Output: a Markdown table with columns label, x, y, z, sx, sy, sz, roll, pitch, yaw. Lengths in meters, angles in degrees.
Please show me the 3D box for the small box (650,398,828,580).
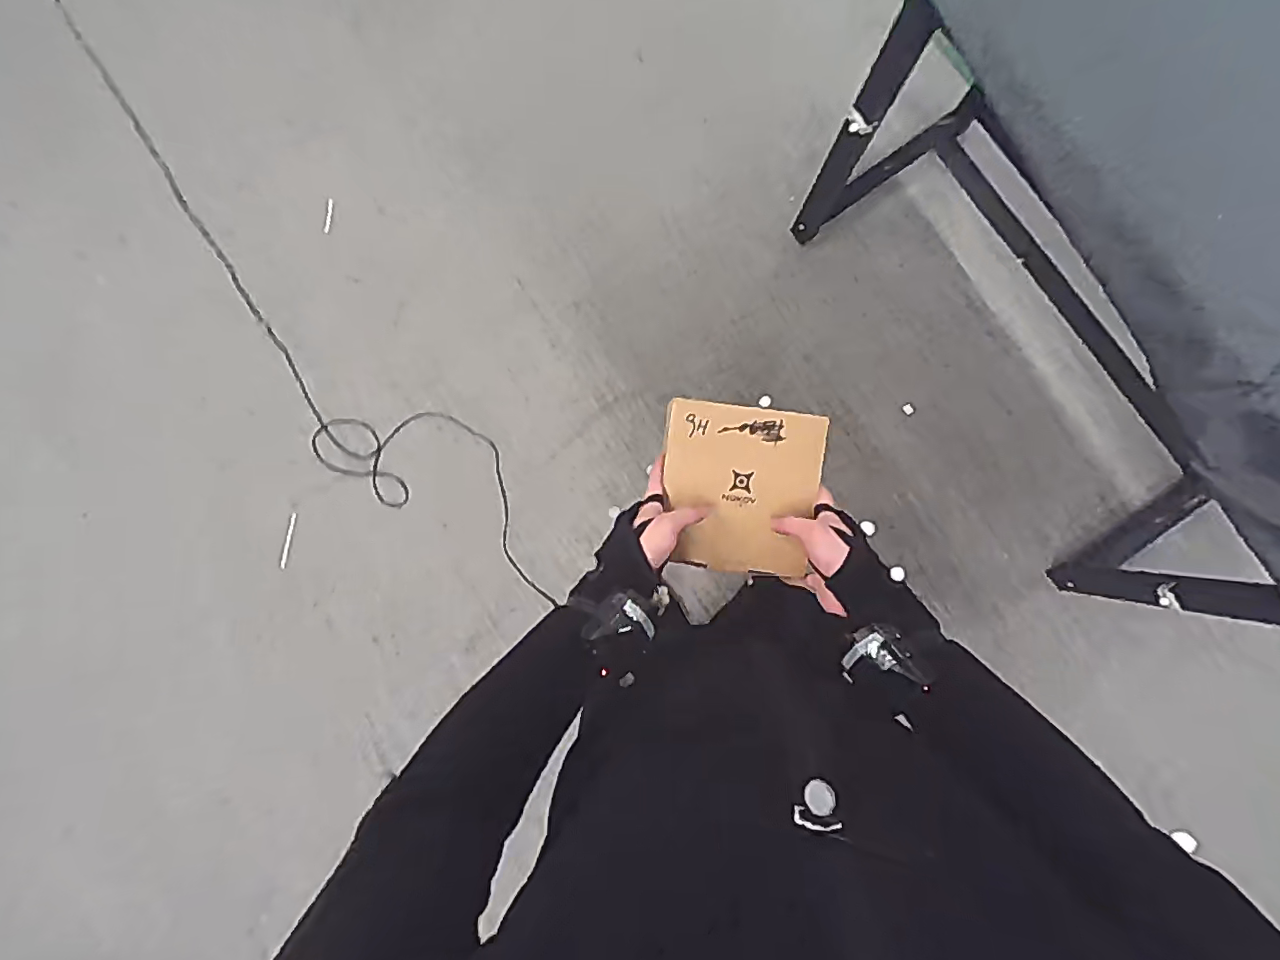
| label | x | y | z | sx | sy | sz | roll | pitch | yaw |
| --- | --- | --- | --- | --- | --- | --- | --- | --- | --- |
| small box | 0.104 | 0.002 | 0.640 | 0.168 | 0.176 | 0.179 | 7 | 96 | 1 |
